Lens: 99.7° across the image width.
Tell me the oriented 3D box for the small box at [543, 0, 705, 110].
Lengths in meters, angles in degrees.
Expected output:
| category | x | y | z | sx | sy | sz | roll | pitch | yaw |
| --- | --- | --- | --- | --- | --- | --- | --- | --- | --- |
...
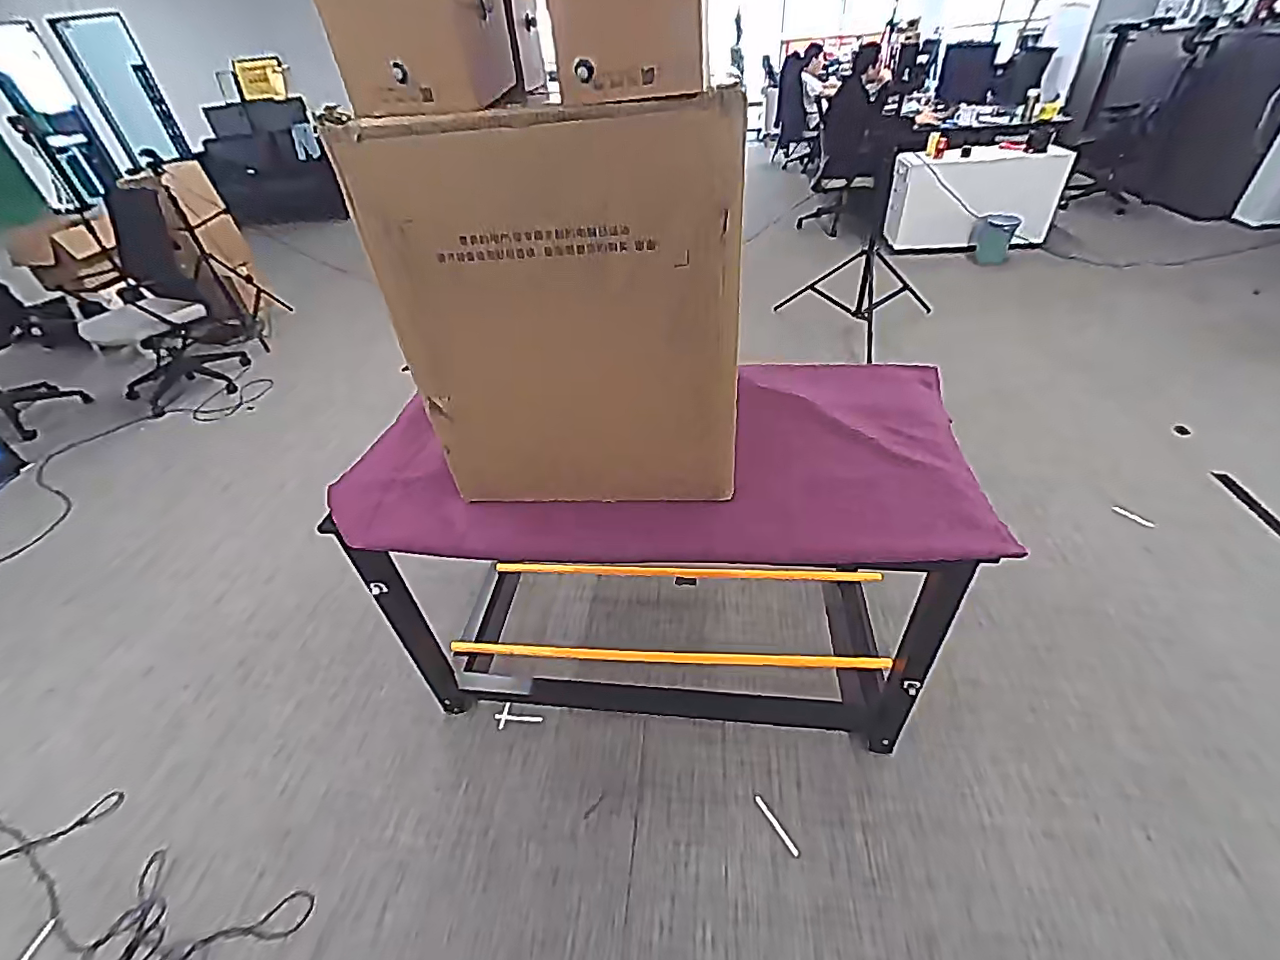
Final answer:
| category | x | y | z | sx | sy | sz | roll | pitch | yaw |
| --- | --- | --- | --- | --- | --- | --- | --- | --- | --- |
| small box | -0.010 | -0.540 | 0.624 | 0.168 | 0.176 | 0.179 | 0 | 41 | 8 |
